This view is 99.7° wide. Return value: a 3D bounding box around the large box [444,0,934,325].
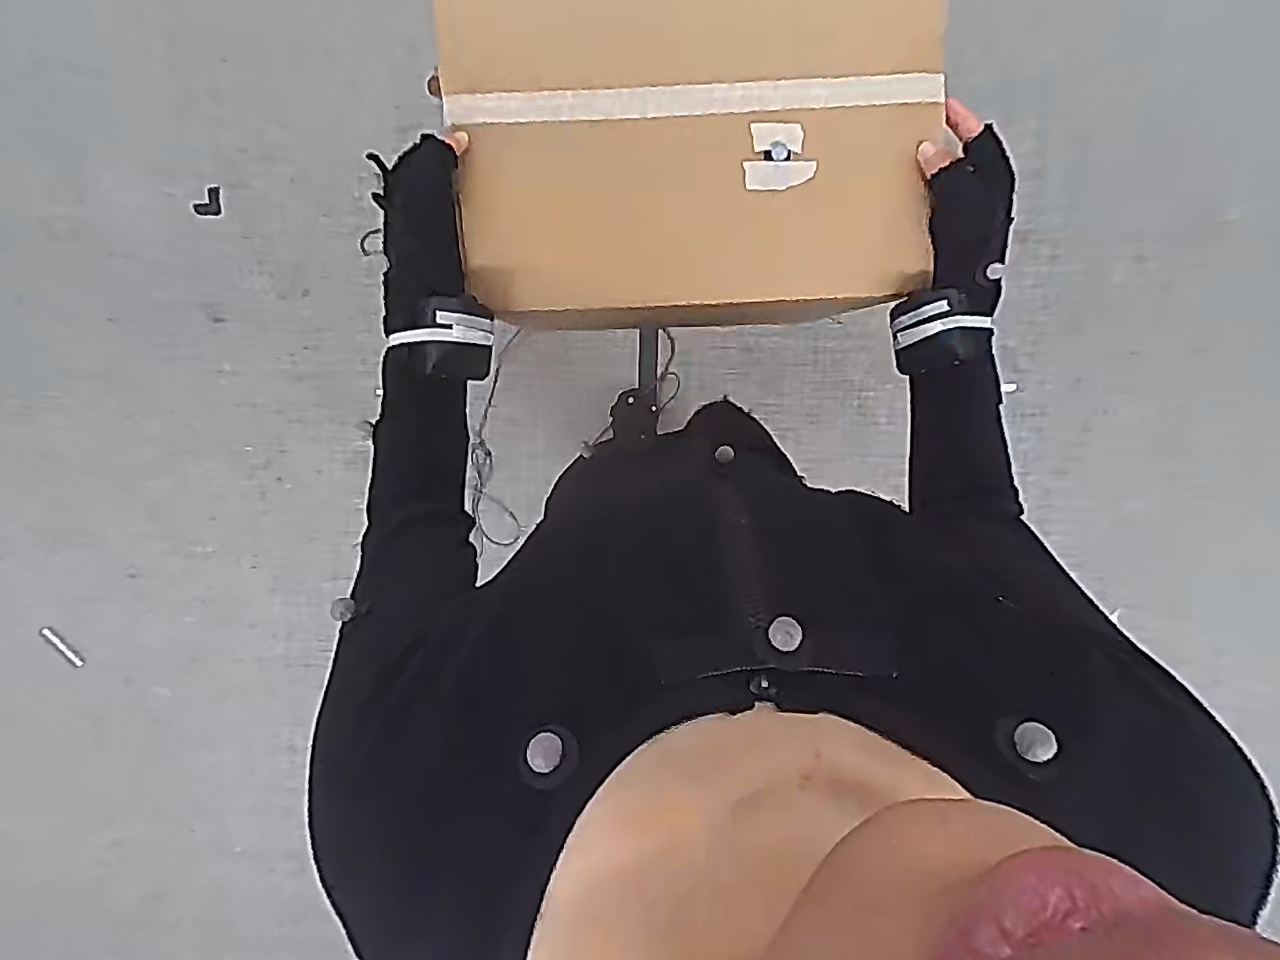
[{"bbox_3d":[0.039,-0.350,0.599,0.408,0.320,0.320,-3,103,-1],"label":"large box"}]
